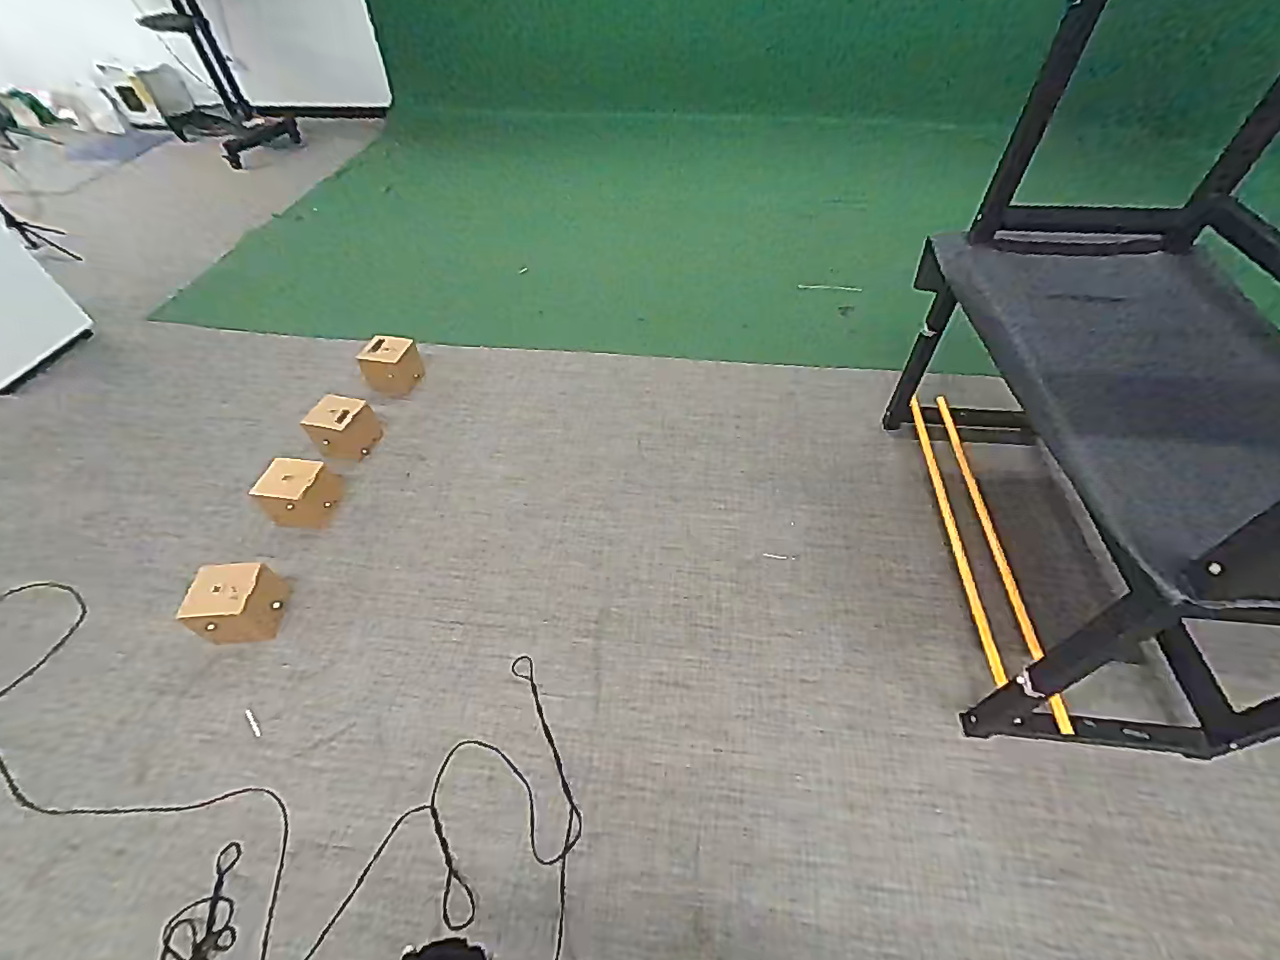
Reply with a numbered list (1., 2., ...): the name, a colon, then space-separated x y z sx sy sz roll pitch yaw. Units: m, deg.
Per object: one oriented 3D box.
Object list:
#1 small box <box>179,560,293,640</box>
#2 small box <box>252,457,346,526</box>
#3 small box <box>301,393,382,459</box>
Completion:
1. small box: -1.156 0.351 1.563 0.179 0.176 0.168 -4 51 -2
2. small box: -1.143 0.041 1.826 0.179 0.176 0.168 5 50 5
3. small box: -1.107 -0.198 2.026 0.179 0.176 0.168 9 50 10
